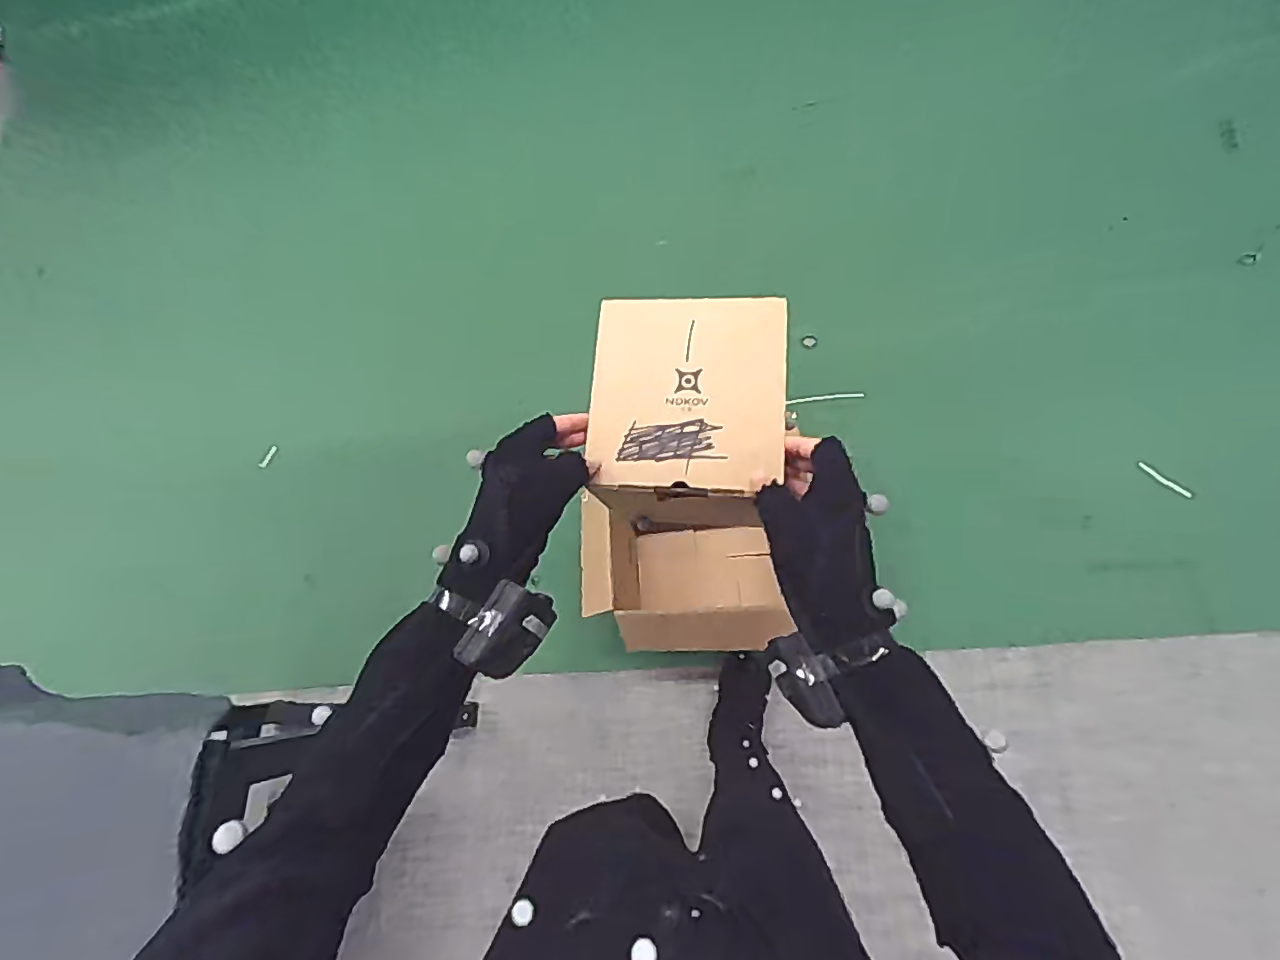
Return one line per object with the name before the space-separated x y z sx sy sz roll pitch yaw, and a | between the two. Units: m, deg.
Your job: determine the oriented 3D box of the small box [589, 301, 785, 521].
small box | 0.054 -0.058 0.546 0.168 0.176 0.179 2 76 9
